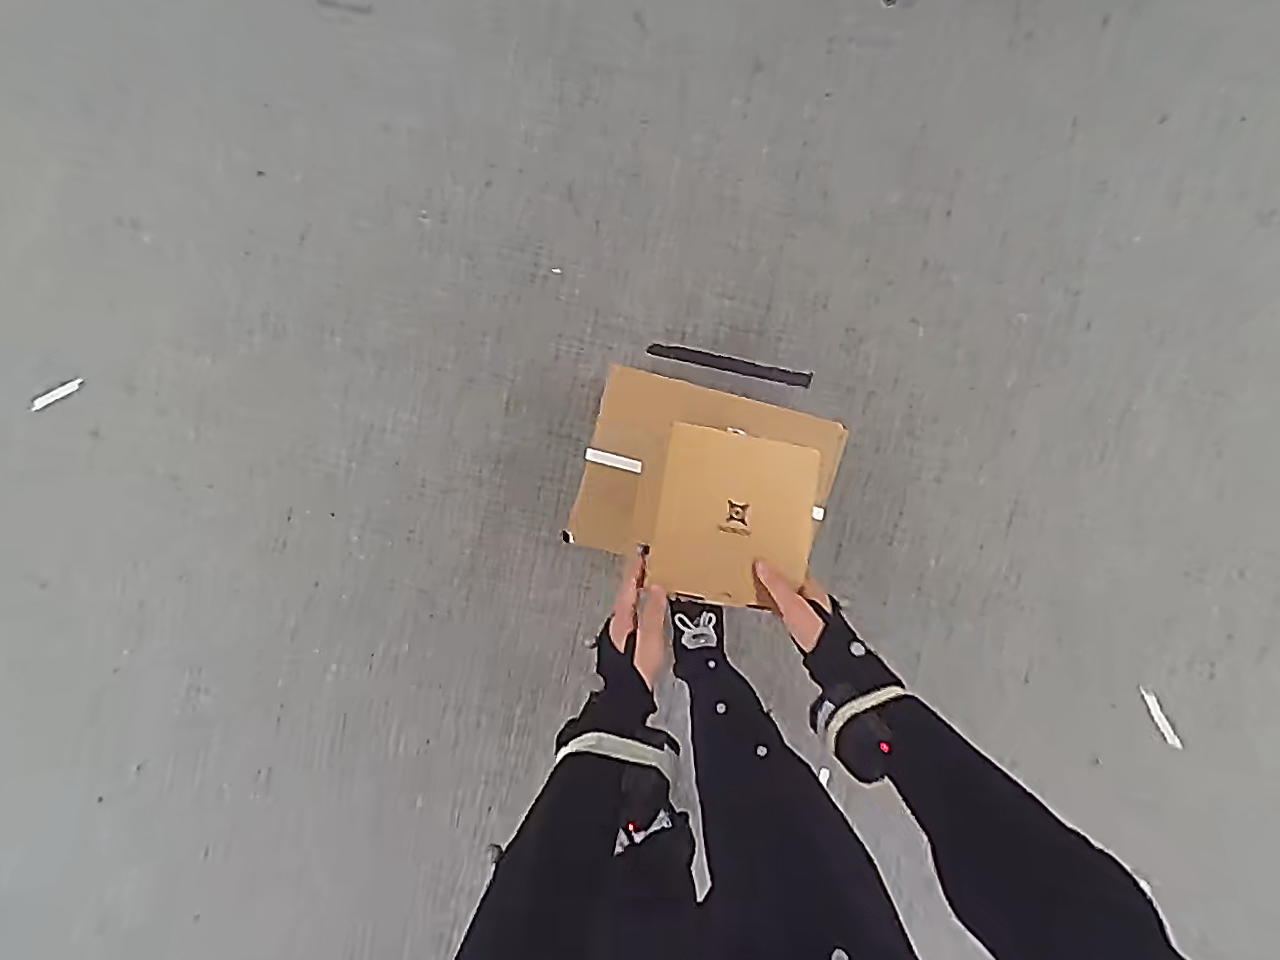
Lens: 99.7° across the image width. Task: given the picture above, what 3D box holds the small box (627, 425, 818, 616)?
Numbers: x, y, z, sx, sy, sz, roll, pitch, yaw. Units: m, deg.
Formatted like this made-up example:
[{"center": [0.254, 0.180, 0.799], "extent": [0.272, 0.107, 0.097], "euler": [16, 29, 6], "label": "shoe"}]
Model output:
[{"center": [0.085, 0.050, 0.629], "extent": [0.168, 0.176, 0.179], "euler": [9, 83, -9], "label": "small box"}]
